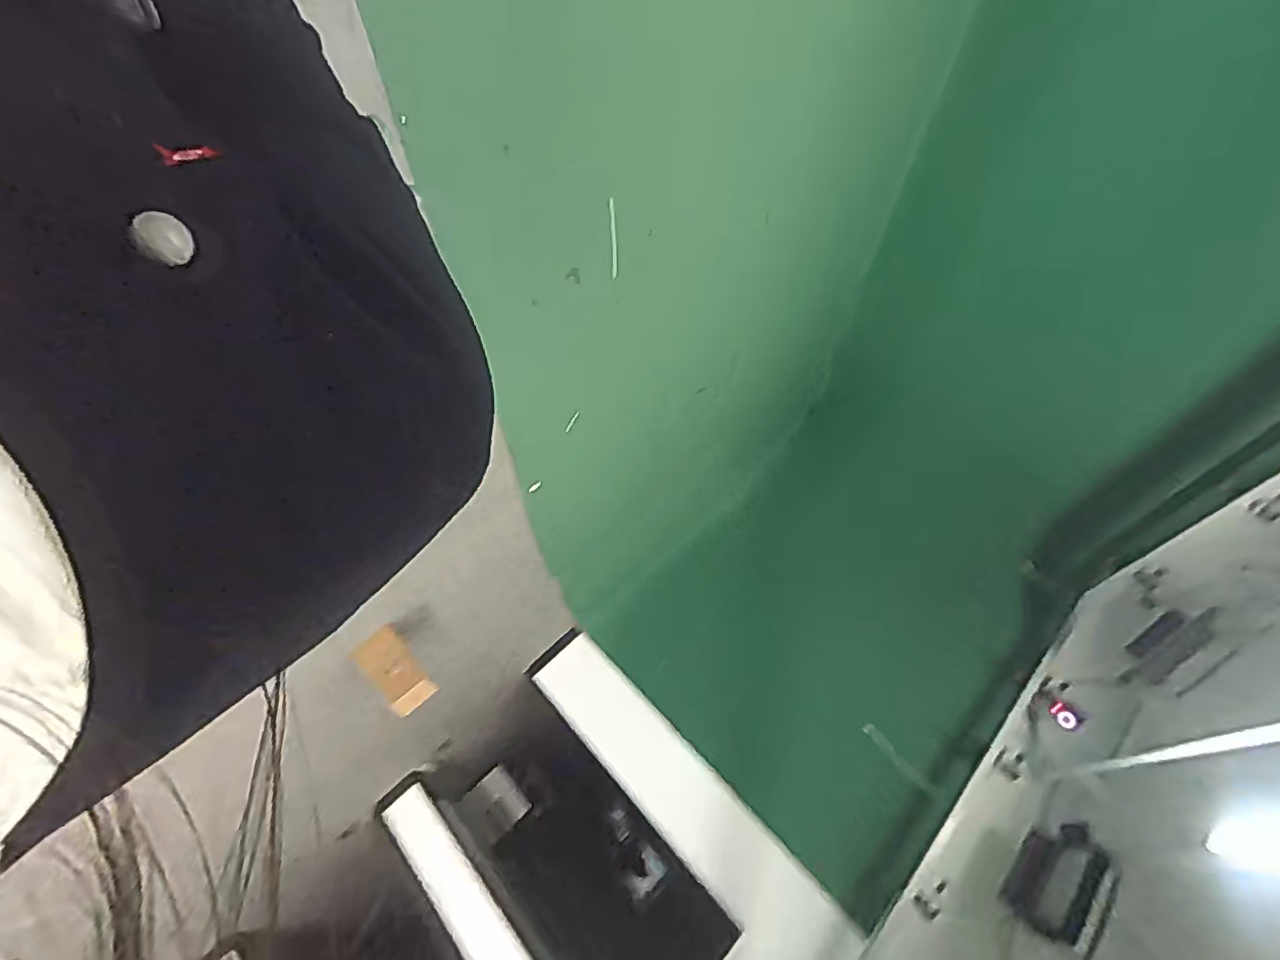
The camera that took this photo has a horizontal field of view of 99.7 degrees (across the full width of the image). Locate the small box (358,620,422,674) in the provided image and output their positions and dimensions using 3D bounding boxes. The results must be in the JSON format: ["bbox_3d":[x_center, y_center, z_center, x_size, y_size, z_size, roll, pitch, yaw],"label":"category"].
[{"bbox_3d":[-1.127,0.764,2.434,0.179,0.176,0.168,-39,152,-24],"label":"small box"}]

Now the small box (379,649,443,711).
[{"bbox_3d":[-1.002,0.870,2.365,0.168,0.176,0.179,-41,152,-24],"label":"small box"}]
